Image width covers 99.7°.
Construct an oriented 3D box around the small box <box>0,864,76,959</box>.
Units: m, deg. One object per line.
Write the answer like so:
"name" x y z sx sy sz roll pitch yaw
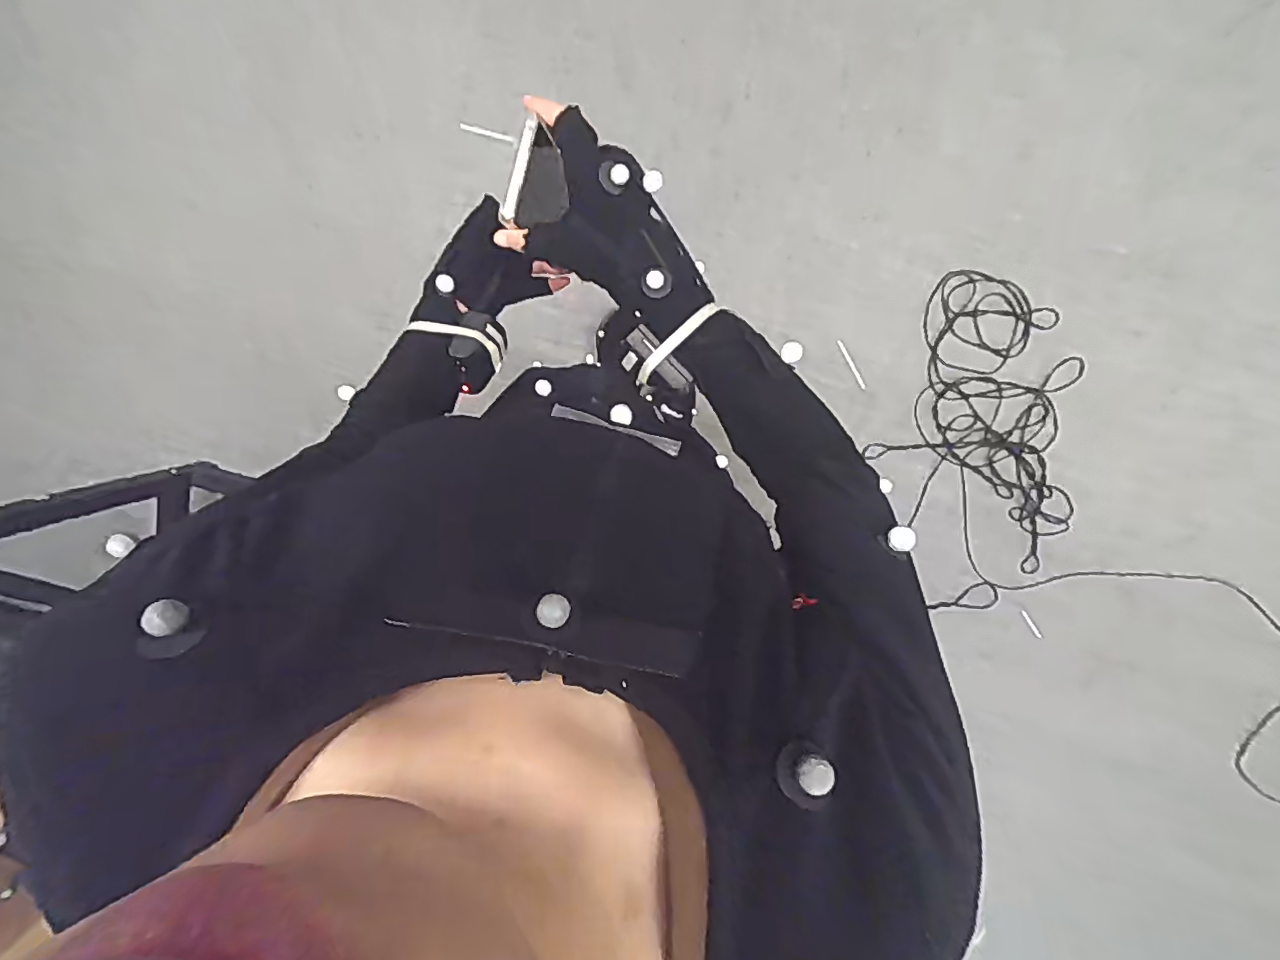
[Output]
"small box" -1.132 0.817 0.925 0.168 0.176 0.179 17 104 0
